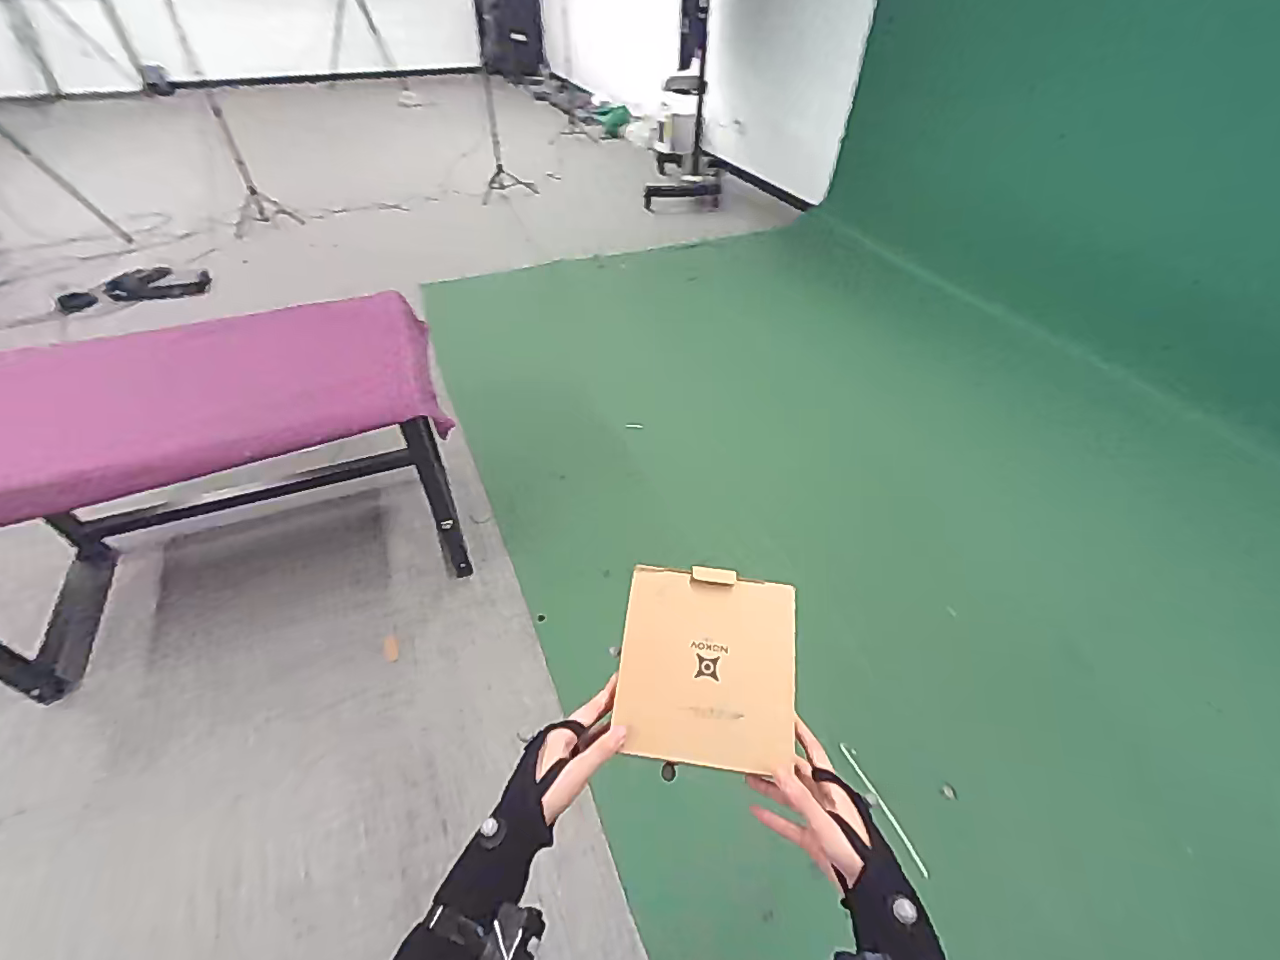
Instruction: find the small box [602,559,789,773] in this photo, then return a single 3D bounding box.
[{"bbox_3d":[0.055,0.202,0.575,0.168,0.176,0.179,6,63,3],"label":"small box"}]
